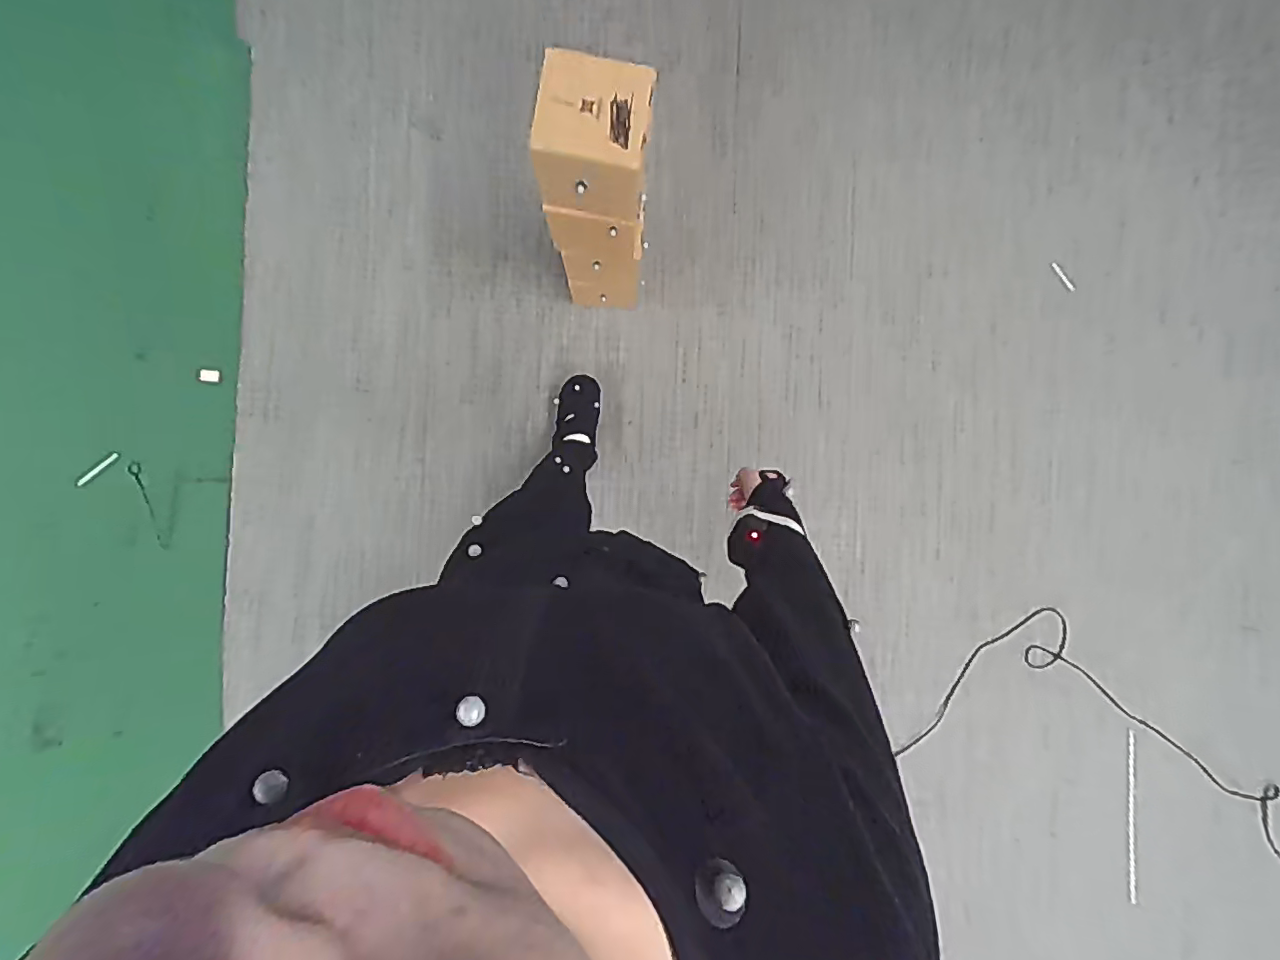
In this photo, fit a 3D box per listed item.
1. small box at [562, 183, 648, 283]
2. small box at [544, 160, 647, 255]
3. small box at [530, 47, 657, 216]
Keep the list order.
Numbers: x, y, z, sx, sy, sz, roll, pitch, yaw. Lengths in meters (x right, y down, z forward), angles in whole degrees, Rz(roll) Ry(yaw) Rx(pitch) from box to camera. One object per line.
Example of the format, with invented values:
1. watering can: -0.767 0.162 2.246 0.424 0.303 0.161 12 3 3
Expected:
1. small box: -0.078 -0.571 1.250 0.179 0.176 0.168 5 90 -2
2. small box: -0.084 -0.574 1.087 0.179 0.176 0.168 8 89 -3
3. small box: -0.074 -0.579 0.923 0.179 0.176 0.168 10 89 -1
